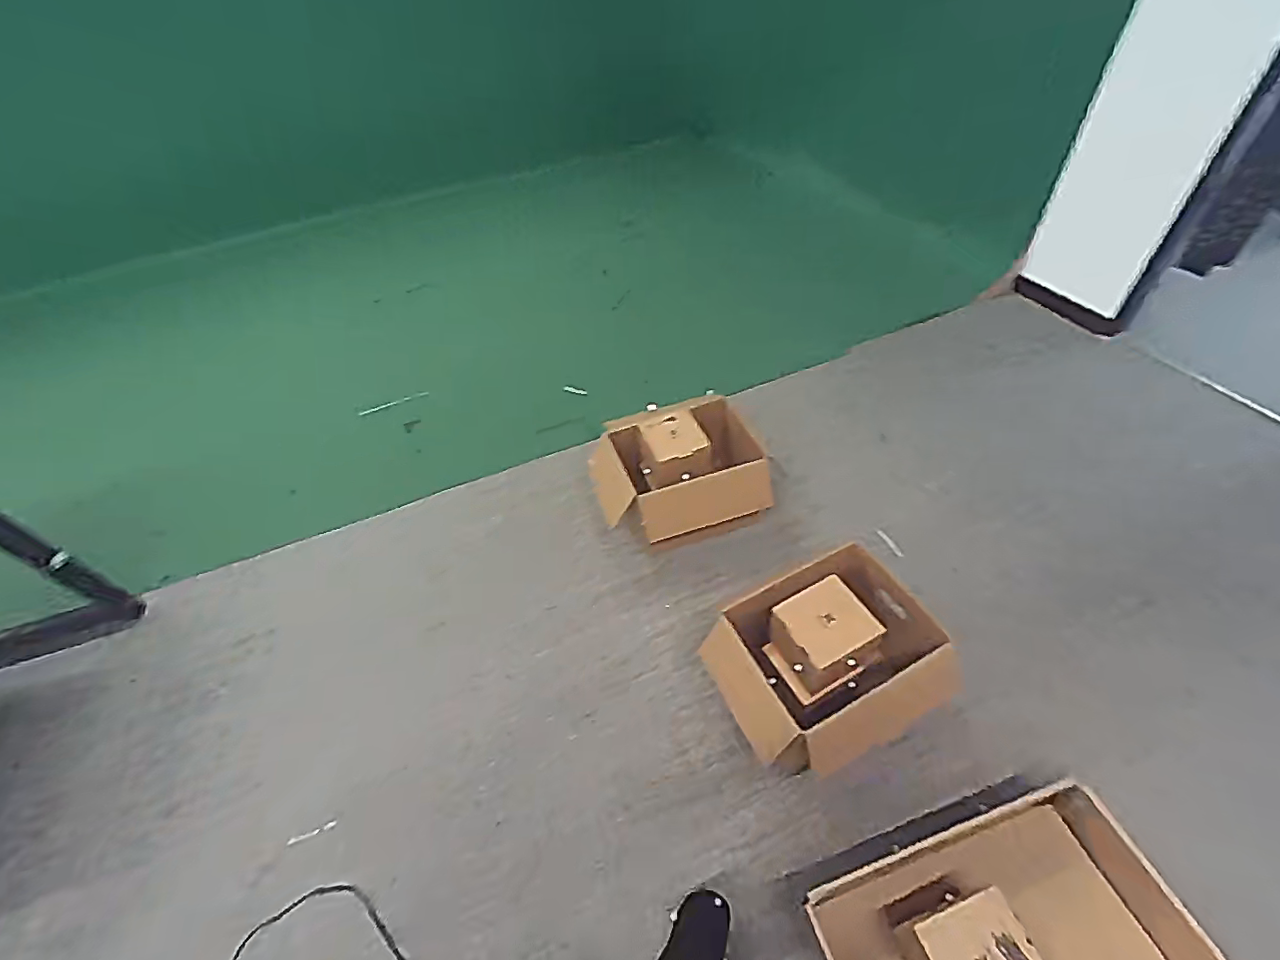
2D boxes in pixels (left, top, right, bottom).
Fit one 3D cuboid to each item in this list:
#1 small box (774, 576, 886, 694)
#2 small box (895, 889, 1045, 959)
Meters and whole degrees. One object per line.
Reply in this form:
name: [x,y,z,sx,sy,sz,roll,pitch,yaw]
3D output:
small box: [0.426,0.359,1.242,0.179,0.176,0.168,-25,50,-12]
small box: [0.588,0.855,0.952,0.179,0.176,0.168,-18,49,-9]
